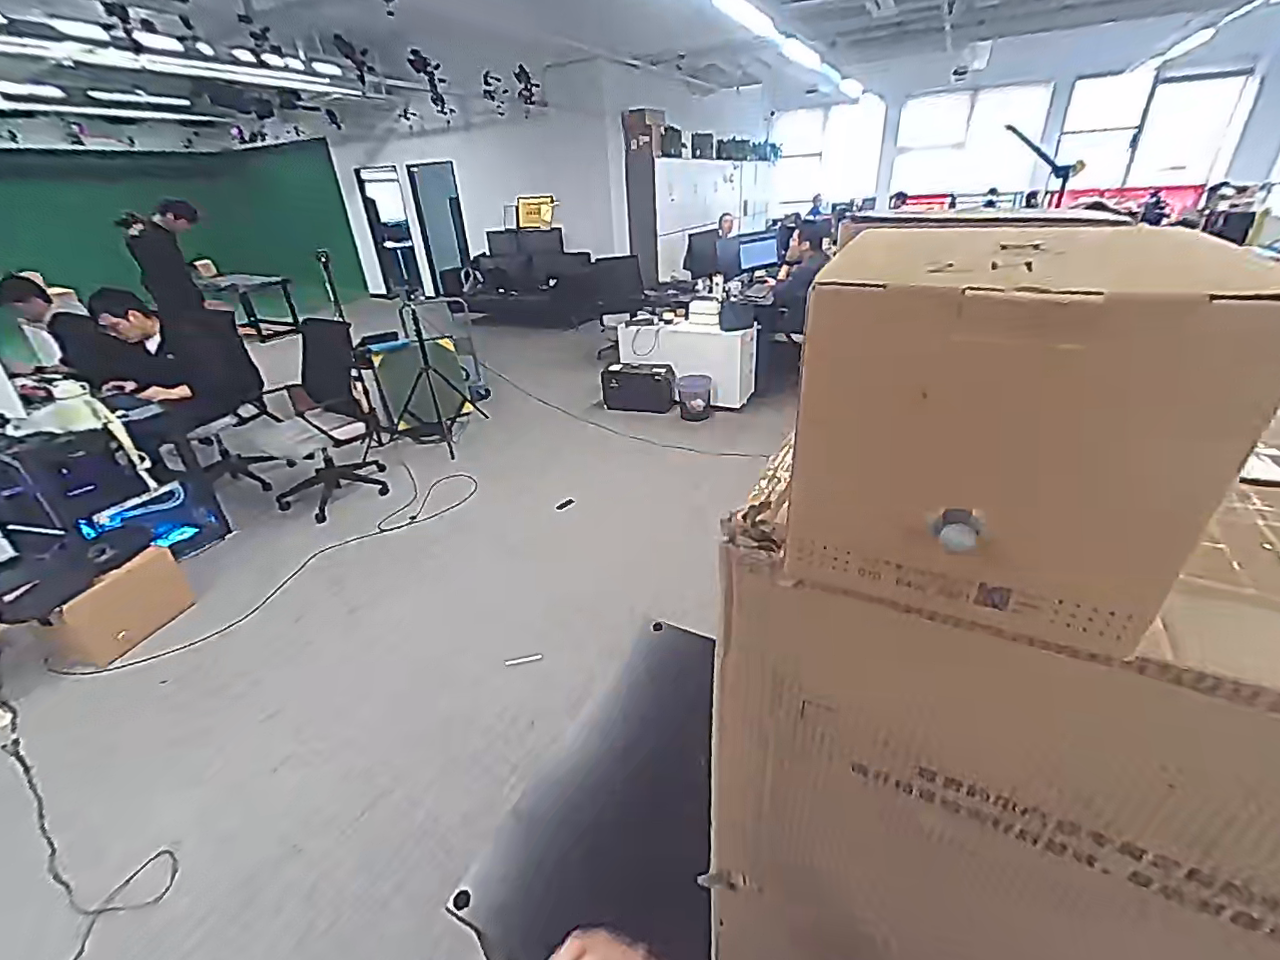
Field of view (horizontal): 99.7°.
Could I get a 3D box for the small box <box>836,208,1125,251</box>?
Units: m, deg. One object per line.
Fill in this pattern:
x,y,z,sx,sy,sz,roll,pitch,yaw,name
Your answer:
0.264,-0.137,0.467,0.179,0.176,0.168,13,31,26,small box

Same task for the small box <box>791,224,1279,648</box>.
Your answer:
0.190,-0.043,0.308,0.168,0.176,0.179,12,35,25,small box
